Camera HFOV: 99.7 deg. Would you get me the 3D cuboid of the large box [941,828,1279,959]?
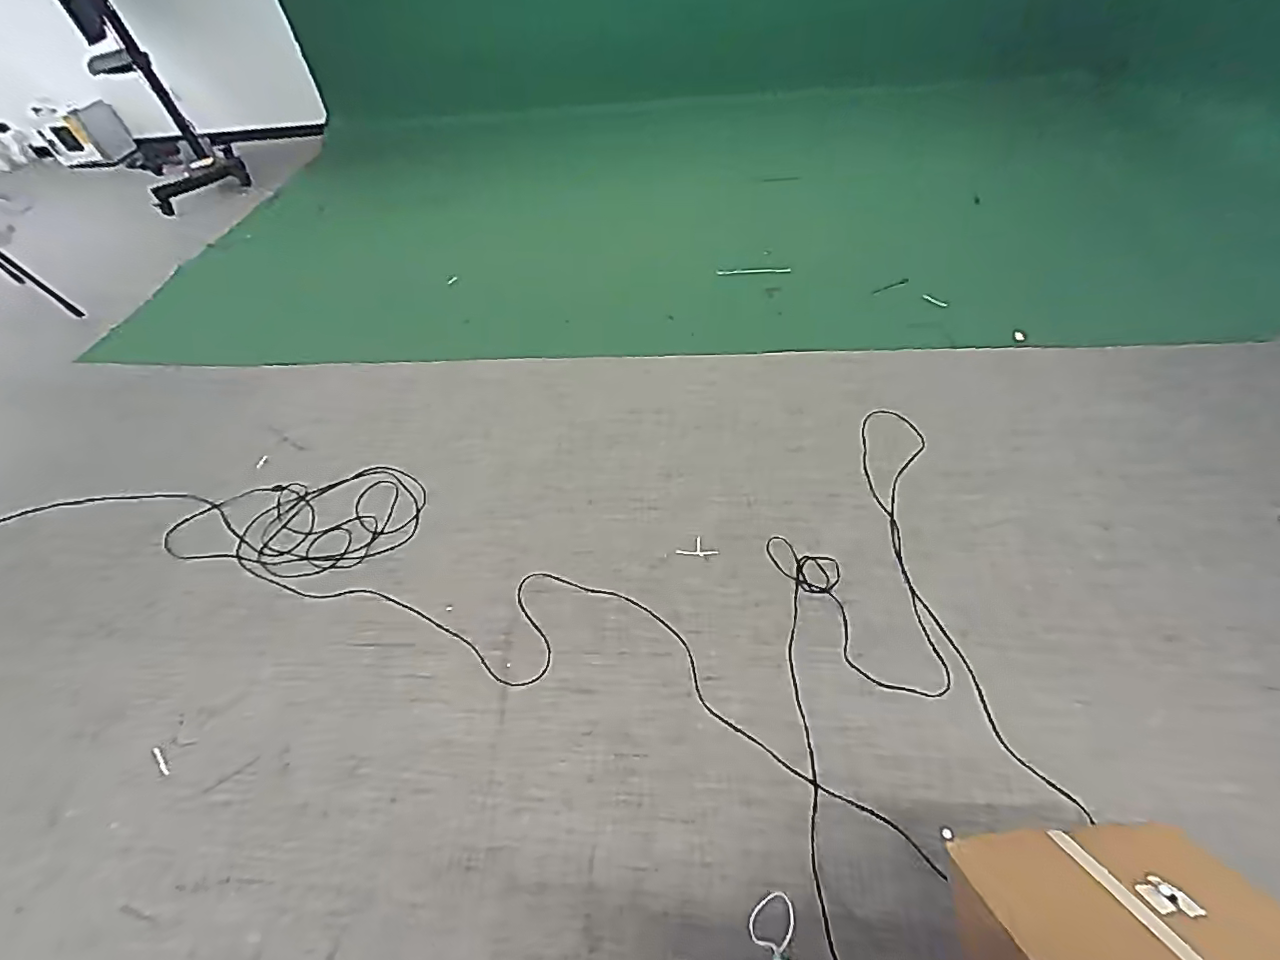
[{"bbox_3d":[0.610,0.679,0.601,0.320,0.408,0.320,-6,90,3],"label":"large box"}]
